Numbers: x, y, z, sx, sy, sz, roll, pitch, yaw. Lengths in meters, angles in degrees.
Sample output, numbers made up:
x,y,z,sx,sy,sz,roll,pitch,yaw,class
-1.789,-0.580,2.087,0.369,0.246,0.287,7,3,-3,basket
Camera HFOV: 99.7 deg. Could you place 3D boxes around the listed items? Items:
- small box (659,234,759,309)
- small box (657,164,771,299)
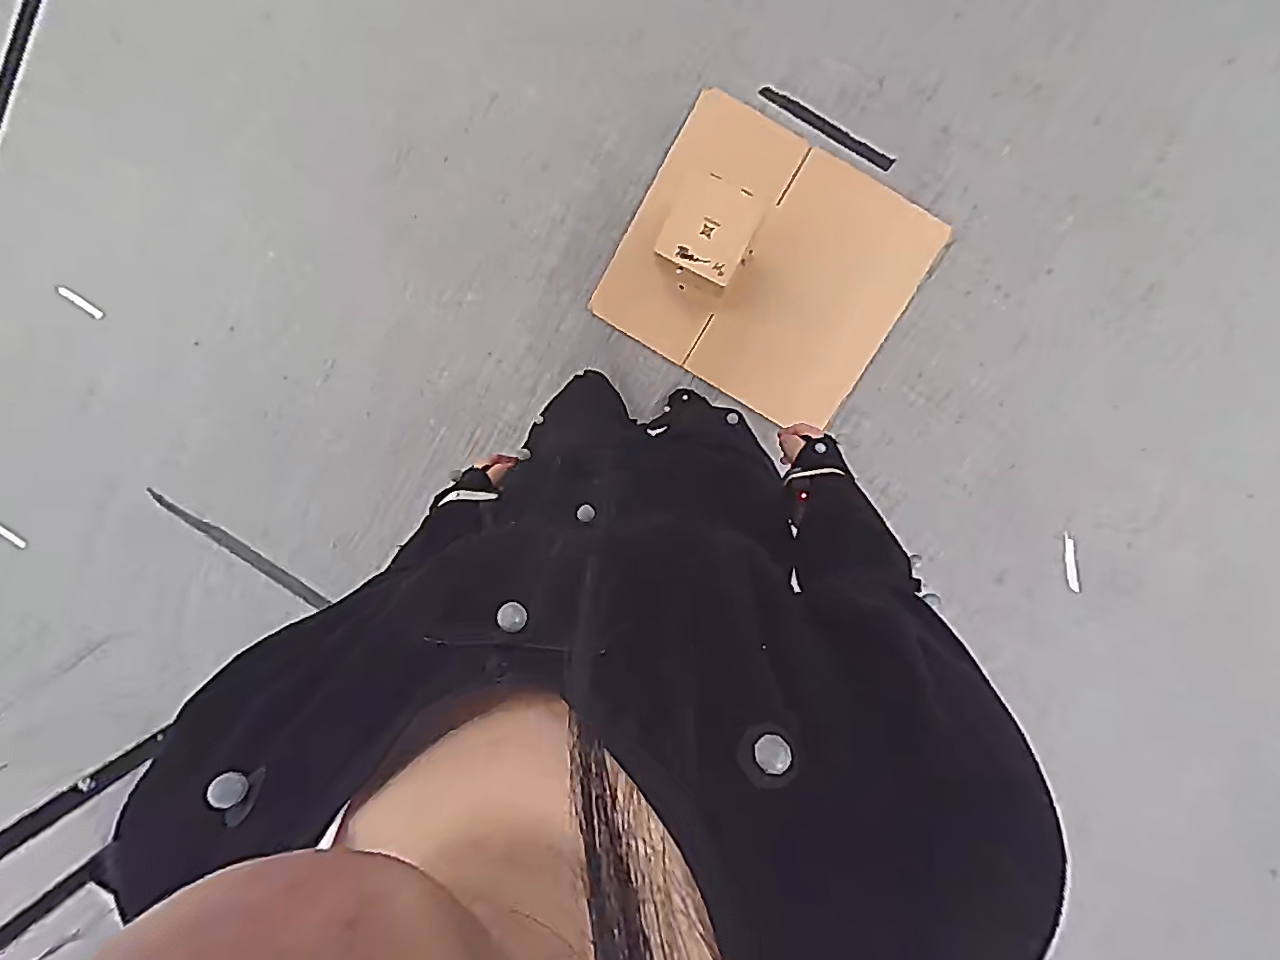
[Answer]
x,y,z,sx,sy,sz,roll,pitch,yaw,class
0.164,-0.528,1.285,0.168,0.176,0.179,29,101,1,small box
0.148,-0.503,1.123,0.168,0.176,0.179,28,101,1,small box
